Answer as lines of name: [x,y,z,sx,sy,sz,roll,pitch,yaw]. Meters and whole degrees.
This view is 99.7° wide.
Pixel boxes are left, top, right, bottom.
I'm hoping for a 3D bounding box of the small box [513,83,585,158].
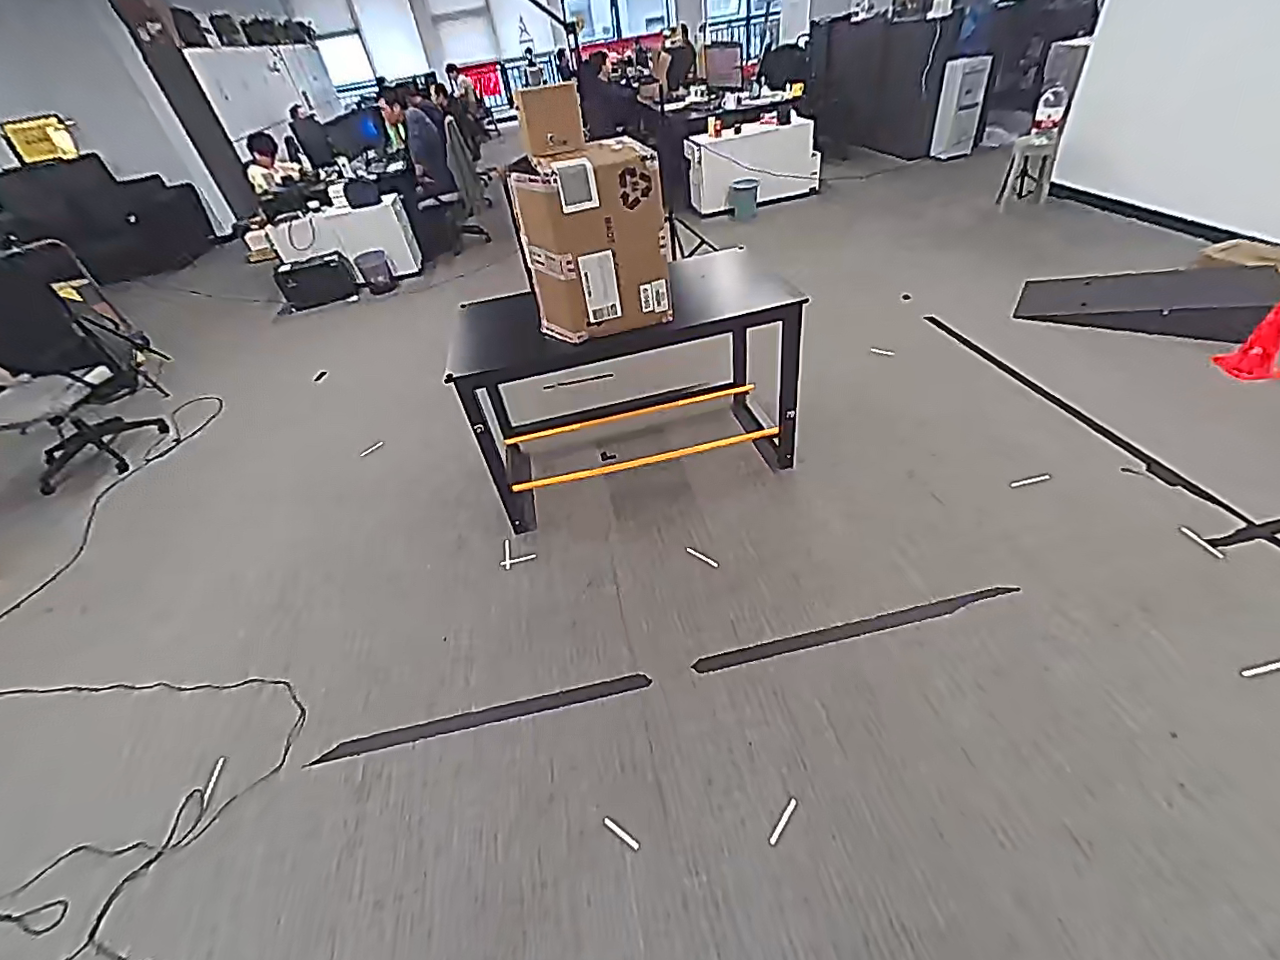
small box: [-0.275,-1.090,1.640,0.168,0.176,0.179,-17,39,-9]
